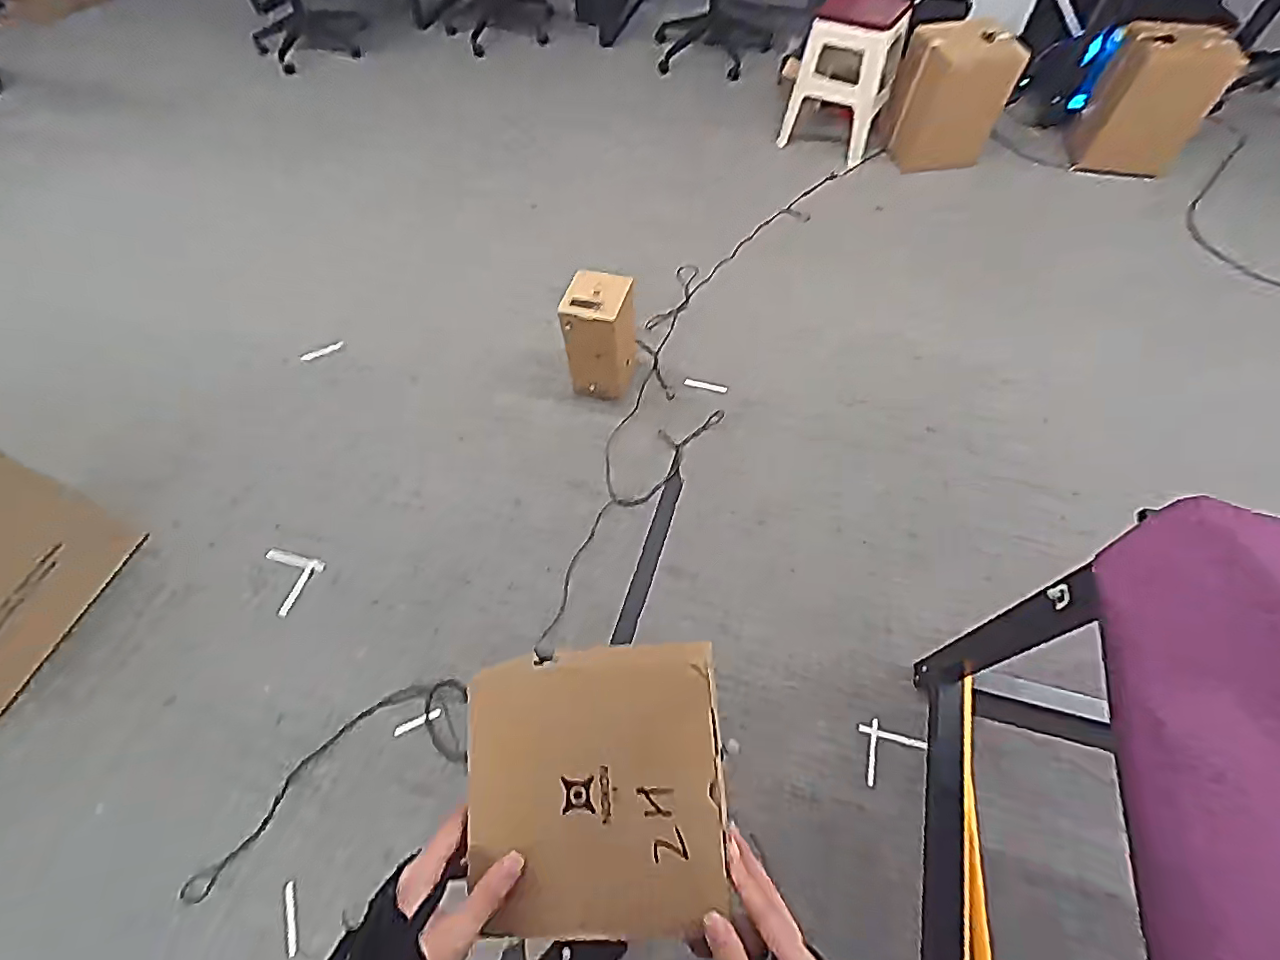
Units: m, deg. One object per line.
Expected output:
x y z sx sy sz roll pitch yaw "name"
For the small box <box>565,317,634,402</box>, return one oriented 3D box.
-0.119 -0.375 1.691 0.168 0.176 0.179 13 61 10 "small box"
